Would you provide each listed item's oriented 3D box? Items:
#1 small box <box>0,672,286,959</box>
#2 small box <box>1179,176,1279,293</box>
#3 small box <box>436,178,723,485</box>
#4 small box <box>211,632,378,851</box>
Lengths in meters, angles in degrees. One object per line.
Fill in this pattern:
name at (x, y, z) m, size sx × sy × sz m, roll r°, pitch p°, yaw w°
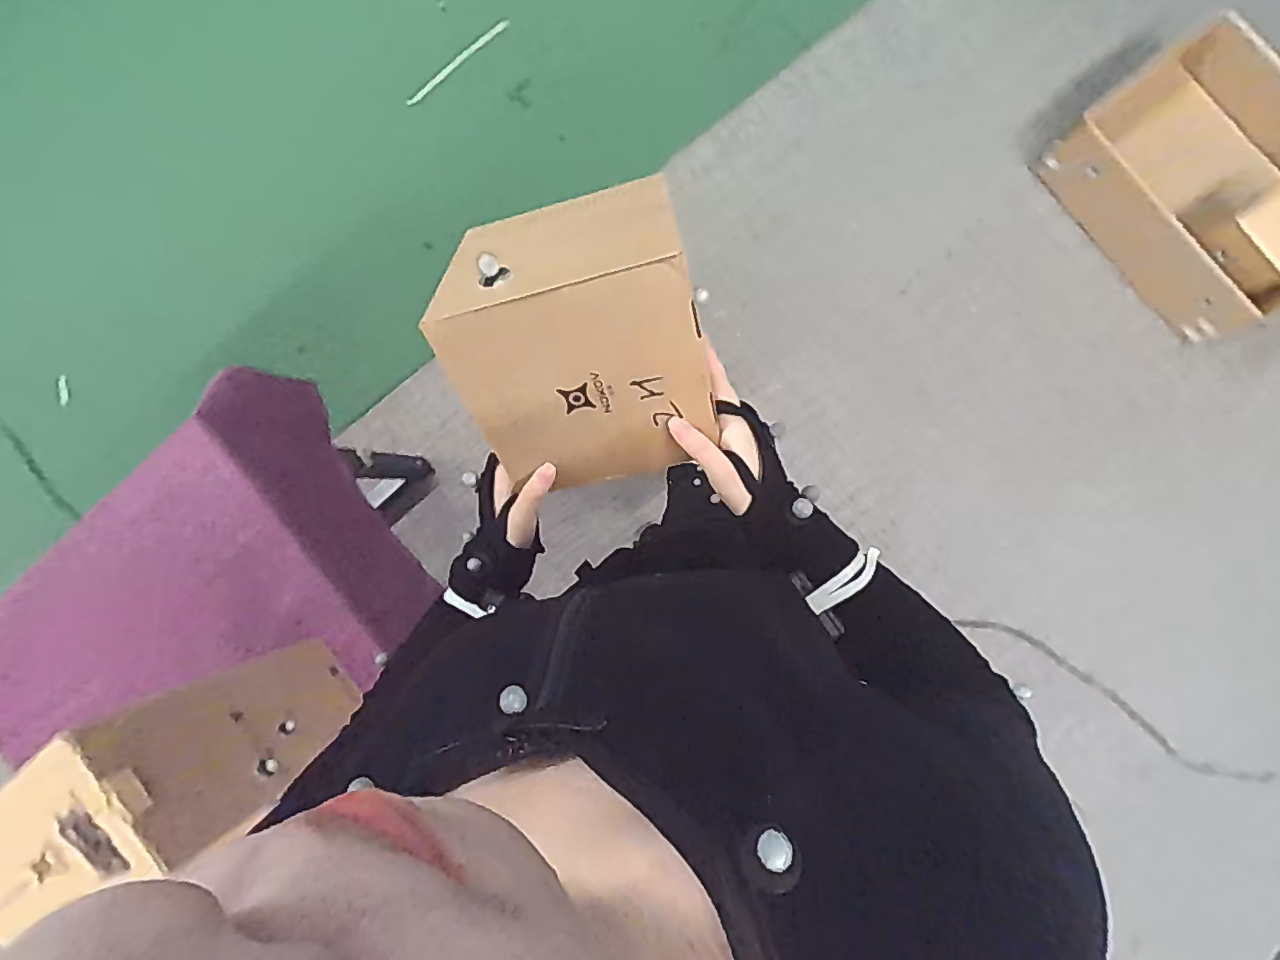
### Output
small box at (-0.527, 0.341, 0.579) m, size 0.179 × 0.176 × 0.168 m, roll -42°, pitch 86°, yaw 5°
small box at (1.416, -0.565, 1.246) m, size 0.179 × 0.176 × 0.168 m, roll -35°, pitch 86°, yaw 4°
small box at (-0.034, -0.122, 0.448) m, size 0.179 × 0.168 × 0.176 m, roll -10°, pitch 45°, yaw 7°
small box at (-0.508, 0.342, 0.743) m, size 0.179 × 0.176 × 0.168 m, roll -41°, pitch 87°, yaw 5°
